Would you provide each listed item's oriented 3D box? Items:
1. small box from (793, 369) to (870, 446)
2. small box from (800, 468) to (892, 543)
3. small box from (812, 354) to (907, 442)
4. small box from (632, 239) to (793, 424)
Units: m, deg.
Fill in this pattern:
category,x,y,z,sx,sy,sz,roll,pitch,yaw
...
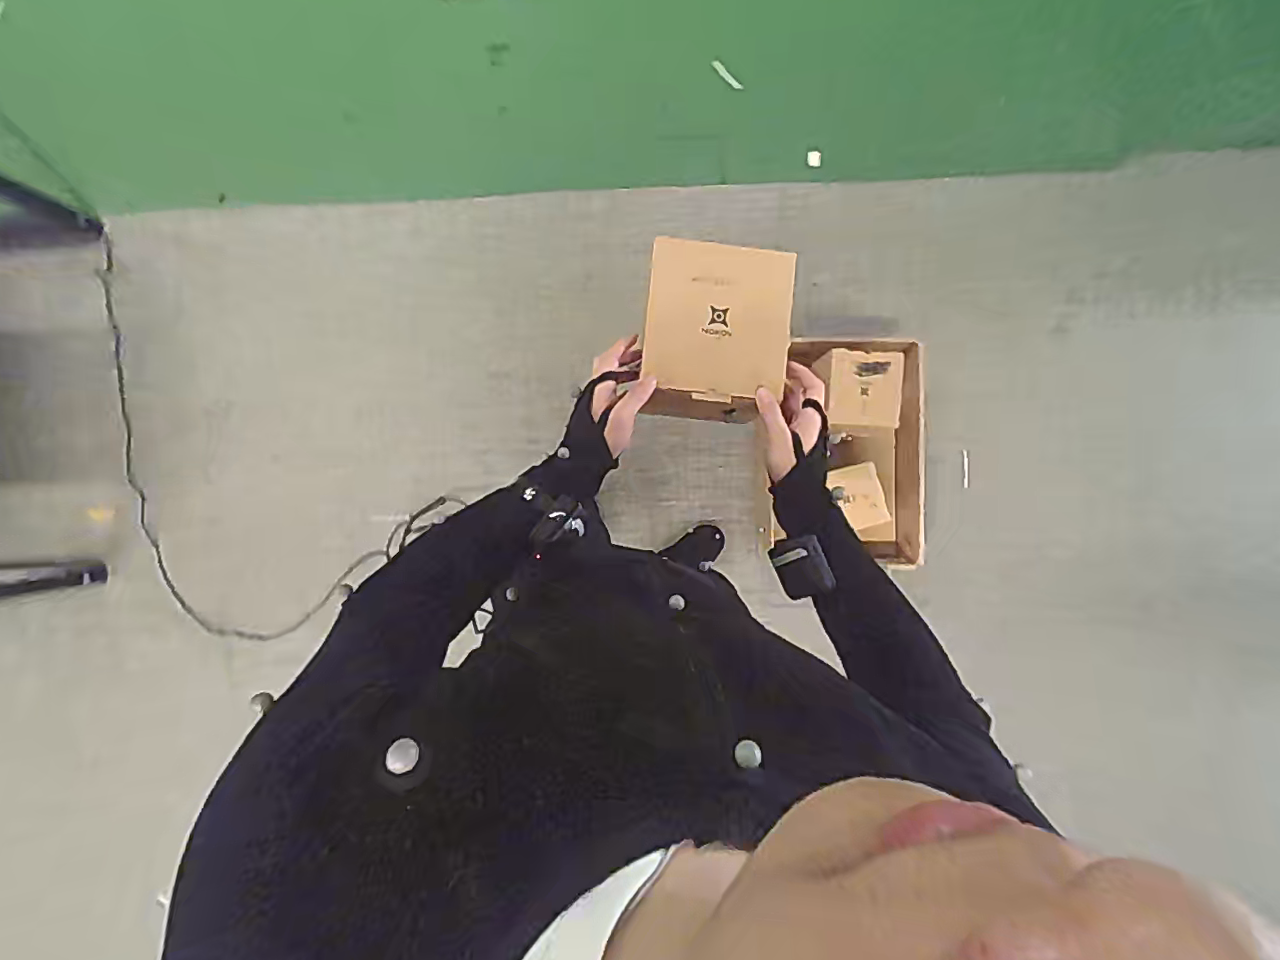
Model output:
category,x,y,z,sx,sy,sz,roll,pitch,yaw
small box,0.536,-0.192,1.483,0.179,0.176,0.168,12,90,2
small box,0.550,0.070,1.472,0.179,0.176,0.168,-15,87,2
small box,0.528,-0.195,1.319,0.168,0.176,0.179,5,89,3
small box,0.080,-0.172,0.682,0.168,0.176,0.179,6,87,-3
